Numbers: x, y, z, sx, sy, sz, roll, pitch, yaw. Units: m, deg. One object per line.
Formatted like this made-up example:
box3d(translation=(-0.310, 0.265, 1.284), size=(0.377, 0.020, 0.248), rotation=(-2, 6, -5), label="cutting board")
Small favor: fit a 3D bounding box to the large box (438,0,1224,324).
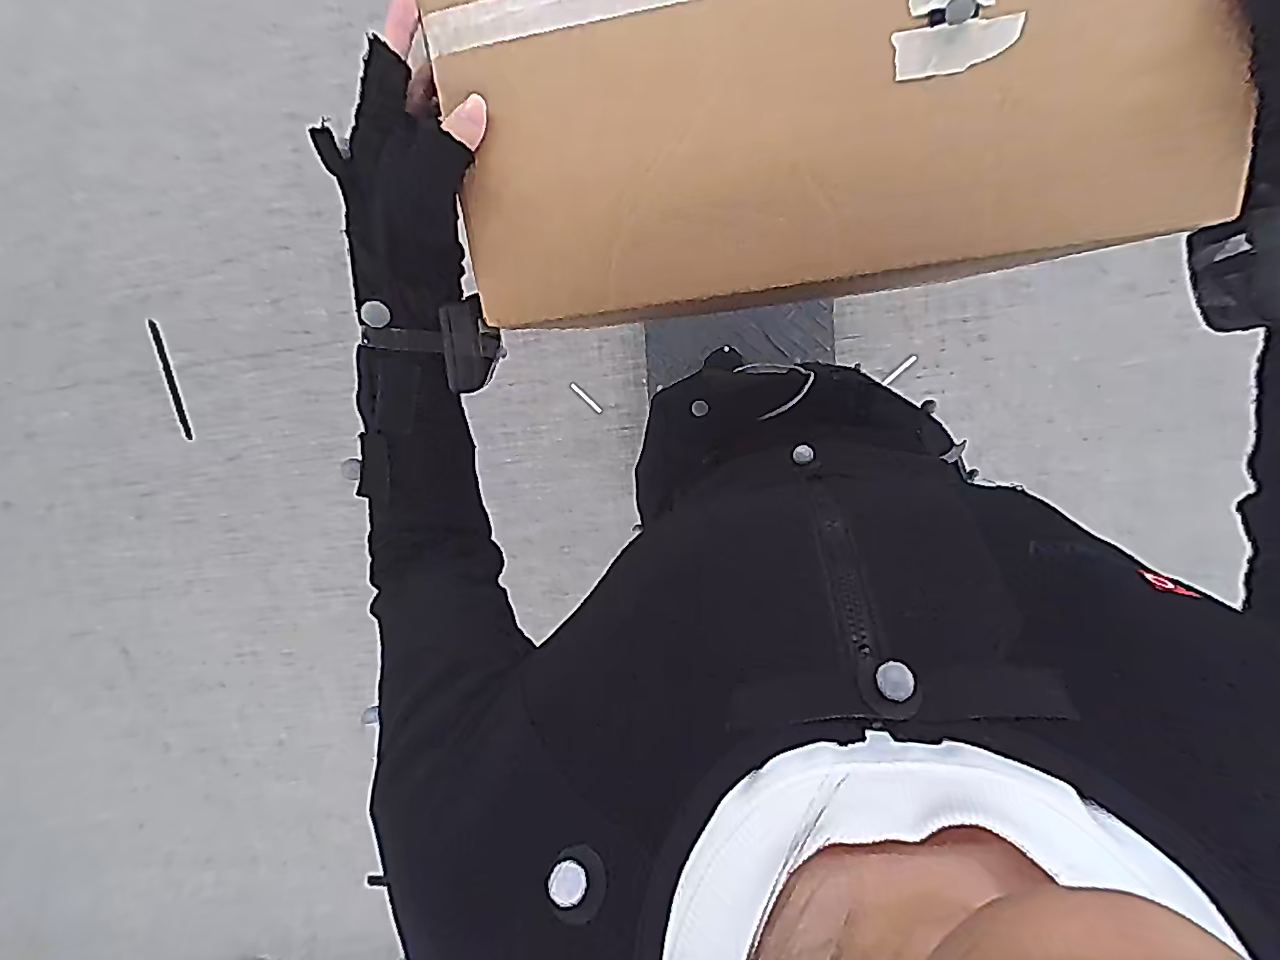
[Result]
box3d(translation=(0.098, -0.312, 0.423), size=(0.408, 0.320, 0.320), rotation=(-6, 105, 8), label="large box")
